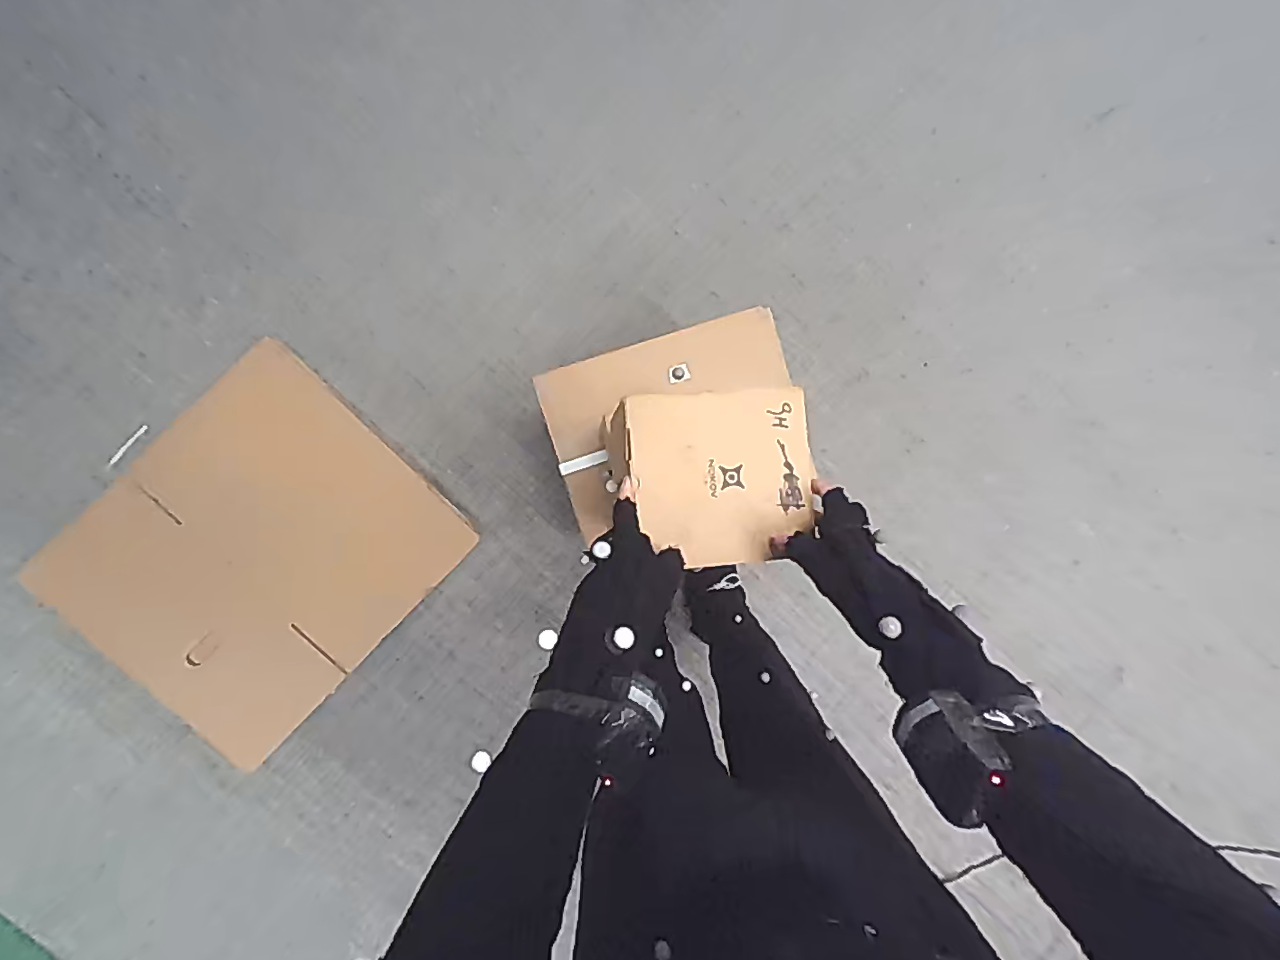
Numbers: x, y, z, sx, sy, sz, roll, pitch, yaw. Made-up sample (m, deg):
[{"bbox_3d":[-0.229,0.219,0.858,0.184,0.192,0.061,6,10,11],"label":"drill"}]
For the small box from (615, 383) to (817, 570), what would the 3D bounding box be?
[{"bbox_3d":[0.068,0.002,0.596,0.179,0.176,0.168,-8,86,-7],"label":"small box"}]
